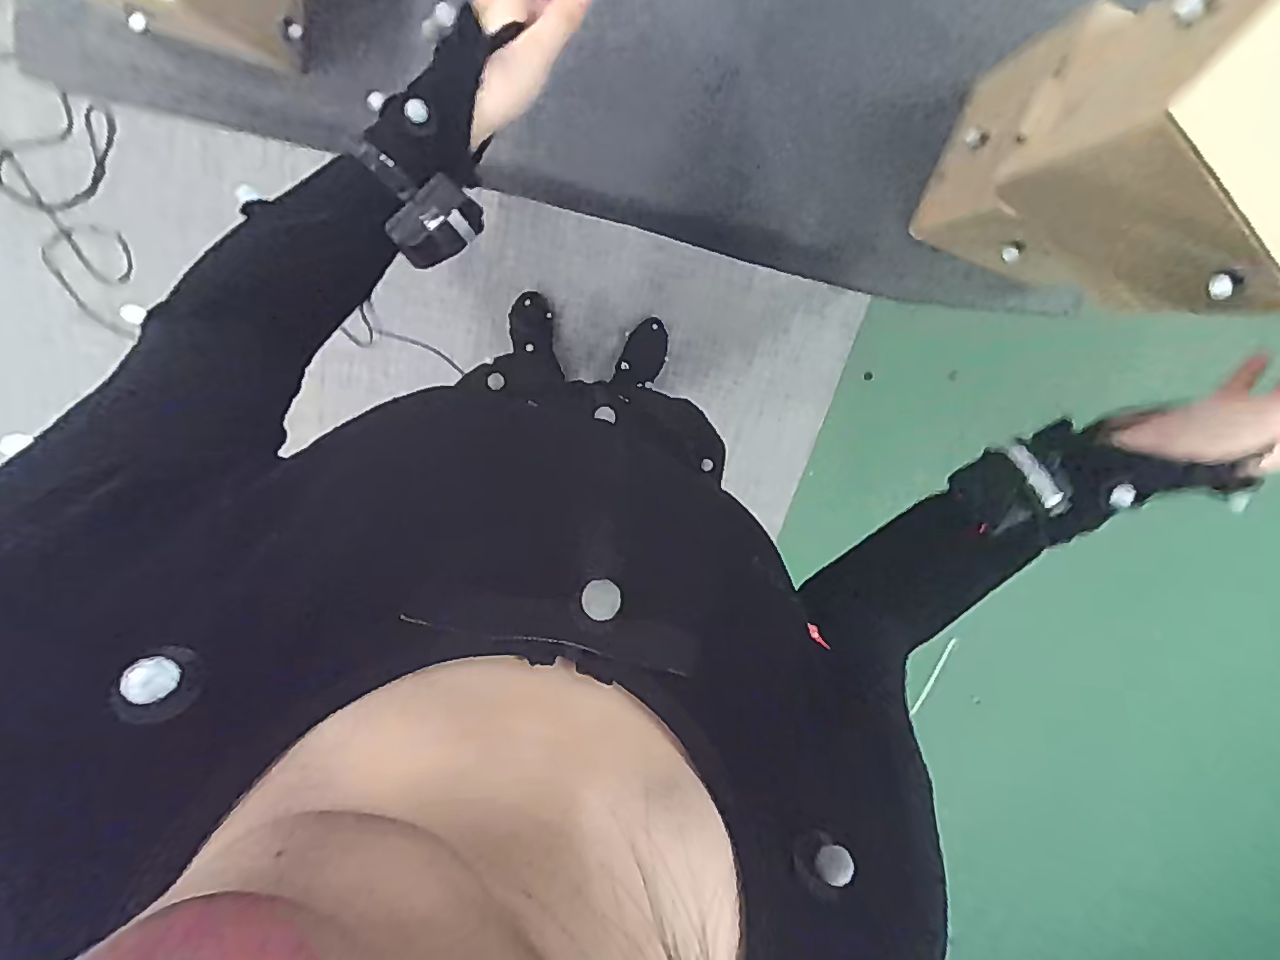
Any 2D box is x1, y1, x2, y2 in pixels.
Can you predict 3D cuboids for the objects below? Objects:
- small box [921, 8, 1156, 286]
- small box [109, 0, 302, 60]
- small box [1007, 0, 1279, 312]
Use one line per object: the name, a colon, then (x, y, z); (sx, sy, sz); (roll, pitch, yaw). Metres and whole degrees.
small box: (0.424, -0.303, 0.539); (0.179, 0.176, 0.168); (20, 106, -5)
small box: (-0.424, -0.511, 0.477); (0.179, 0.176, 0.168); (15, 110, -4)
small box: (0.422, -0.236, 0.389); (0.179, 0.176, 0.168); (40, 103, -12)
